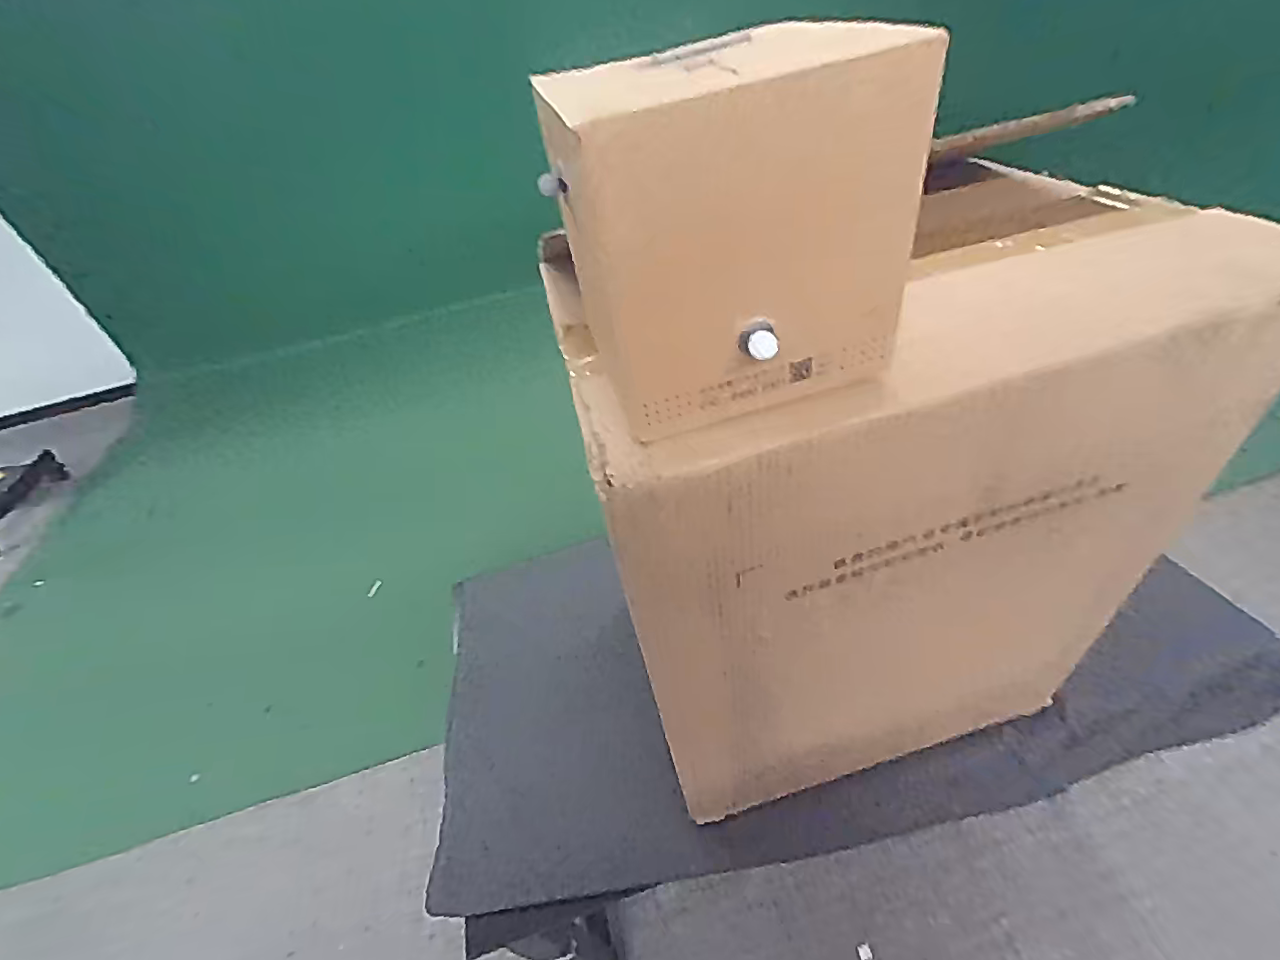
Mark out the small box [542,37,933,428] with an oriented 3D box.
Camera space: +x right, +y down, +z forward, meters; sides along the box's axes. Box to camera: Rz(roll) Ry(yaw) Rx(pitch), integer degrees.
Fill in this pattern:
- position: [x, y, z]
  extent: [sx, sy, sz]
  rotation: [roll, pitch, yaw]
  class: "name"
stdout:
- position: [0.045, -0.160, 0.348]
  extent: [0.168, 0.176, 0.179]
  rotation: [-17, 42, -4]
  class: "small box"
